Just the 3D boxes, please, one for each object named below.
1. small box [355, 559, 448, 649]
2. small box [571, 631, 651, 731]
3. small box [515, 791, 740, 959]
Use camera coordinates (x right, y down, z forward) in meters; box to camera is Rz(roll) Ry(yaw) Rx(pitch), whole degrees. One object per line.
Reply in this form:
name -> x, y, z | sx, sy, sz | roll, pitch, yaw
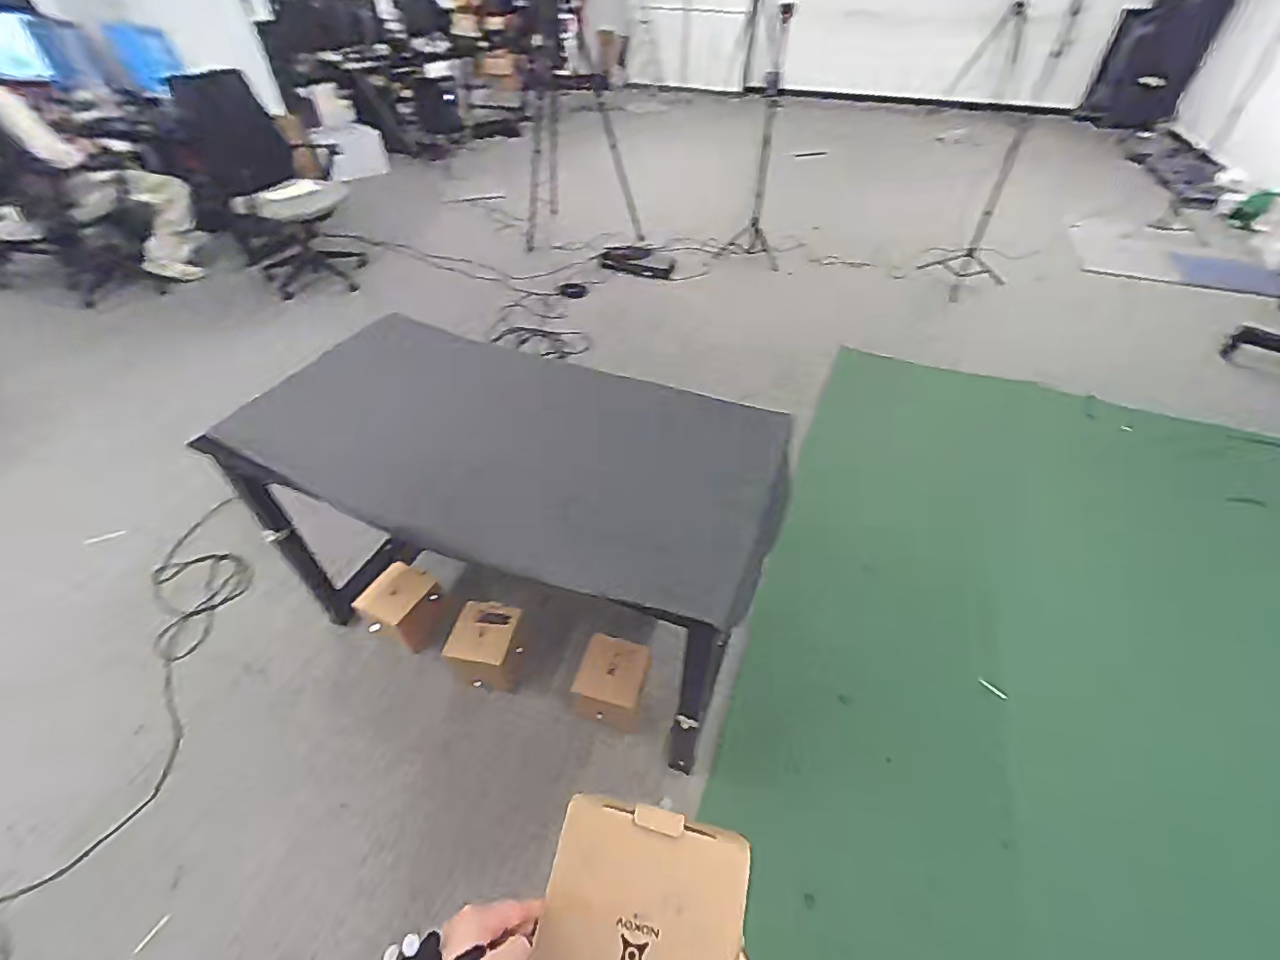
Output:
small box -> -0.707, 0.376, 1.628 | 0.168, 0.176, 0.179 | 19, 47, 19
small box -> -0.071, 0.544, 1.454 | 0.168, 0.176, 0.179 | 13, 46, 12
small box -> -0.009, 0.408, 0.501 | 0.168, 0.176, 0.179 | 10, 61, 10
